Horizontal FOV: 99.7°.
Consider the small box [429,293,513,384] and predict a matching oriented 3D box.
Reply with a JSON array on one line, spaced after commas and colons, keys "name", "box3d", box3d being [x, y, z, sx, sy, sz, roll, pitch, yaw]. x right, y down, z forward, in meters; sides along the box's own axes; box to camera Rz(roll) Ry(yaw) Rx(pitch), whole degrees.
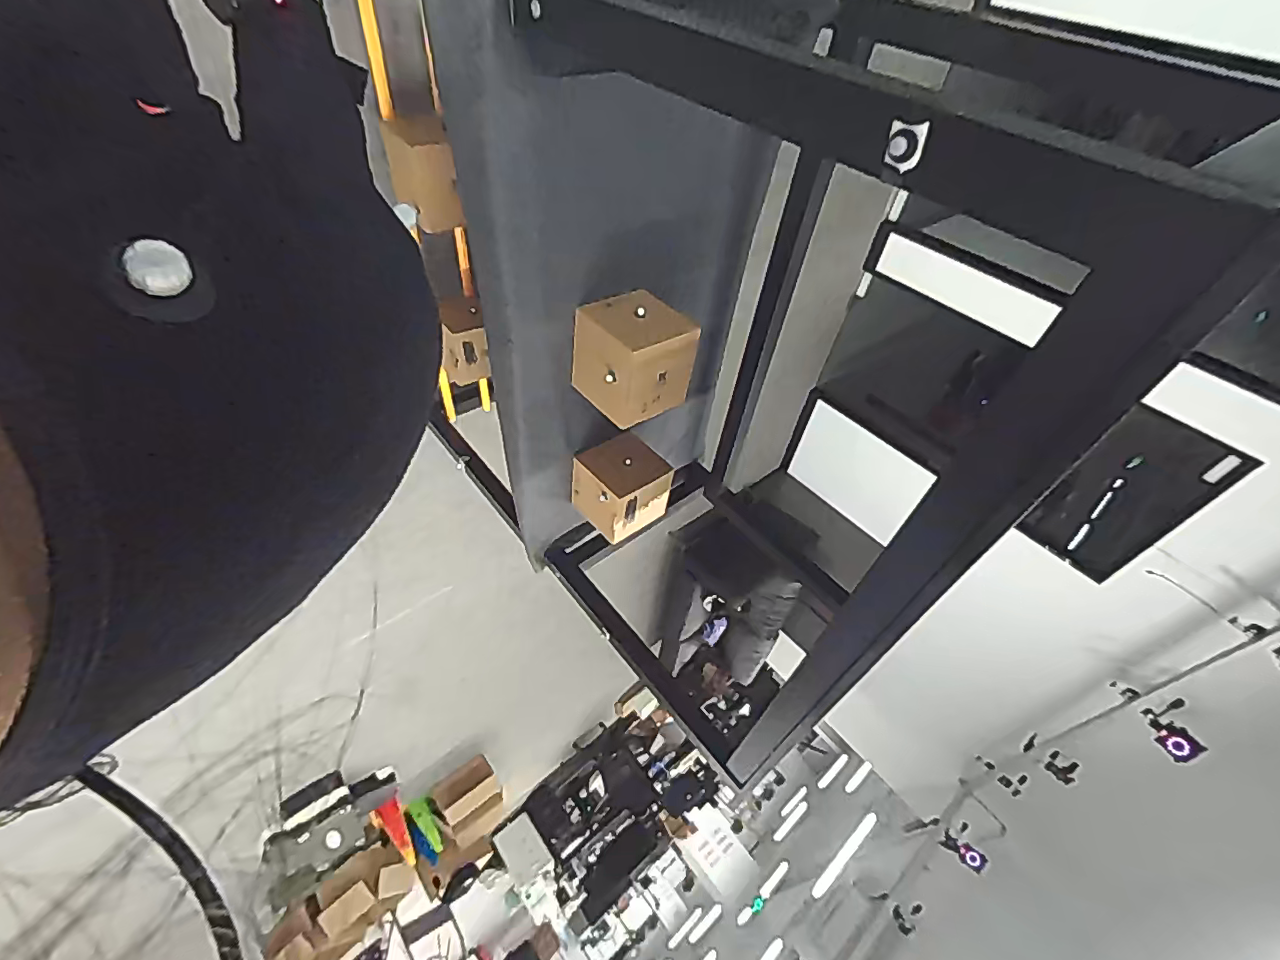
[{"name": "small box", "box3d": [-0.475, -0.400, 1.514, 0.179, 0.176, 0.168, -27, 147, -32]}]

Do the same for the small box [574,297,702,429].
[{"name": "small box", "box3d": [-0.011, -0.233, 1.036, 0.168, 0.176, 0.179, -27, 146, -32]}]
